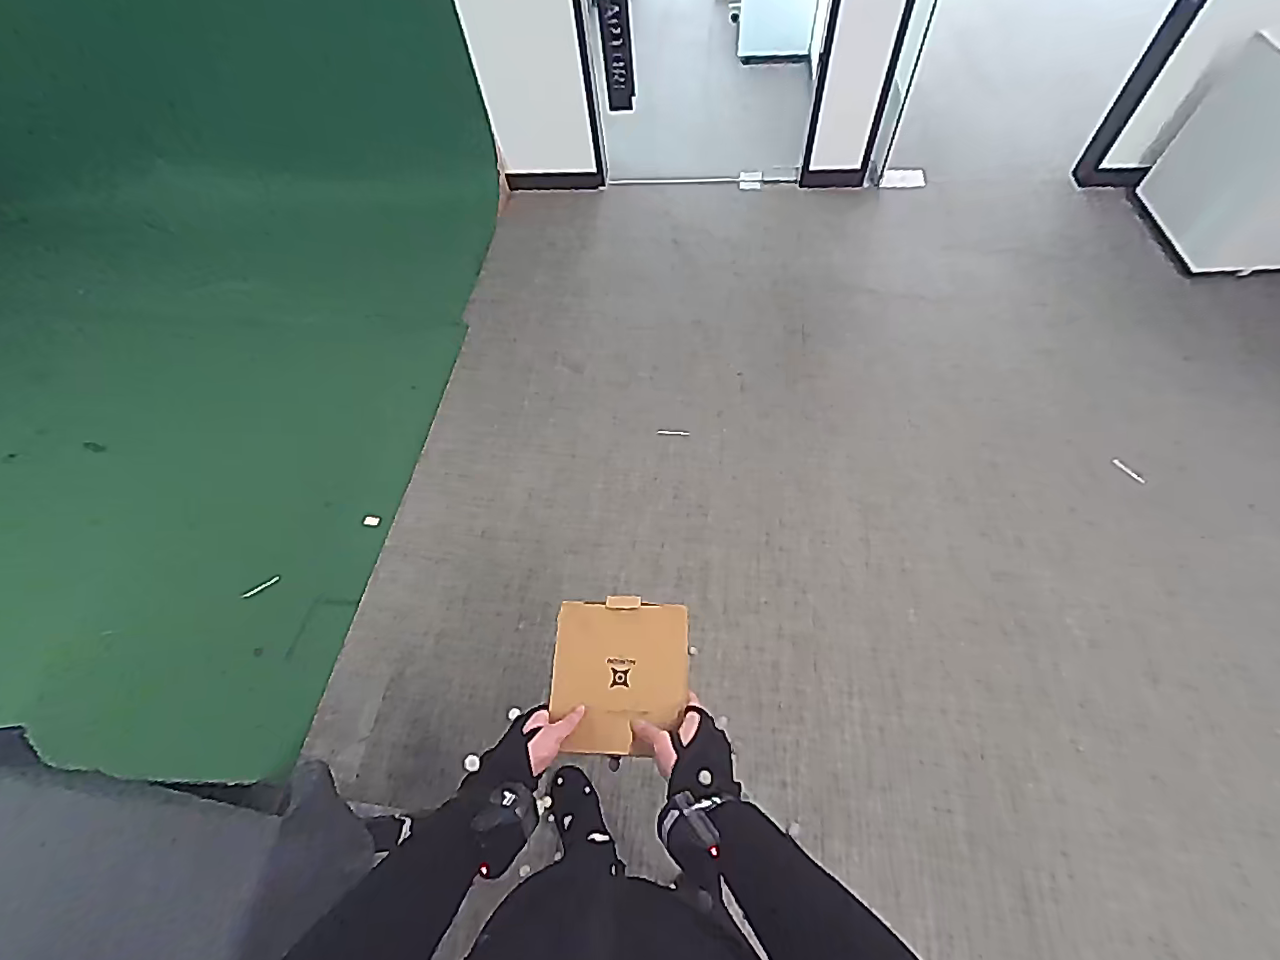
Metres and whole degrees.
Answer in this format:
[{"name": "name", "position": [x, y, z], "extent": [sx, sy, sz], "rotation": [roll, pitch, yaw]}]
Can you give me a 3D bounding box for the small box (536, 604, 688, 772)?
[{"name": "small box", "position": [-0.025, 0.274, 0.705], "extent": [0.168, 0.176, 0.179], "rotation": [2, 62, 5]}]
